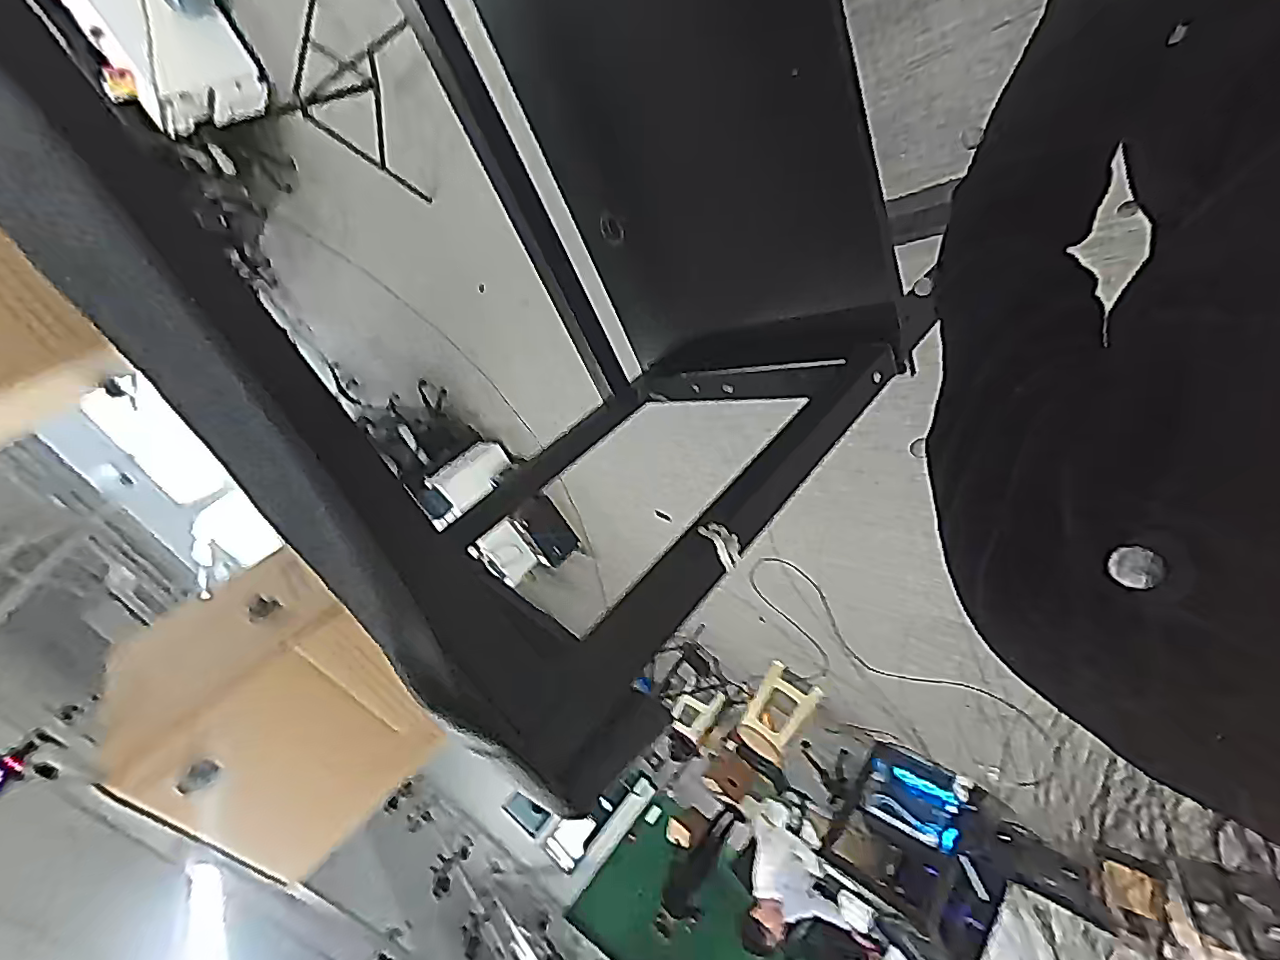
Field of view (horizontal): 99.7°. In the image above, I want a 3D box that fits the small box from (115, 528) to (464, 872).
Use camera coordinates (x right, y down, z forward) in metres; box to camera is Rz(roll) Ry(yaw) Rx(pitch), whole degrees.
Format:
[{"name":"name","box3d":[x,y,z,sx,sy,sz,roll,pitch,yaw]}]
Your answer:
[{"name":"small box","box3d":[-0.285,0.175,0.467,0.168,0.176,0.179,21,143,46]}]
